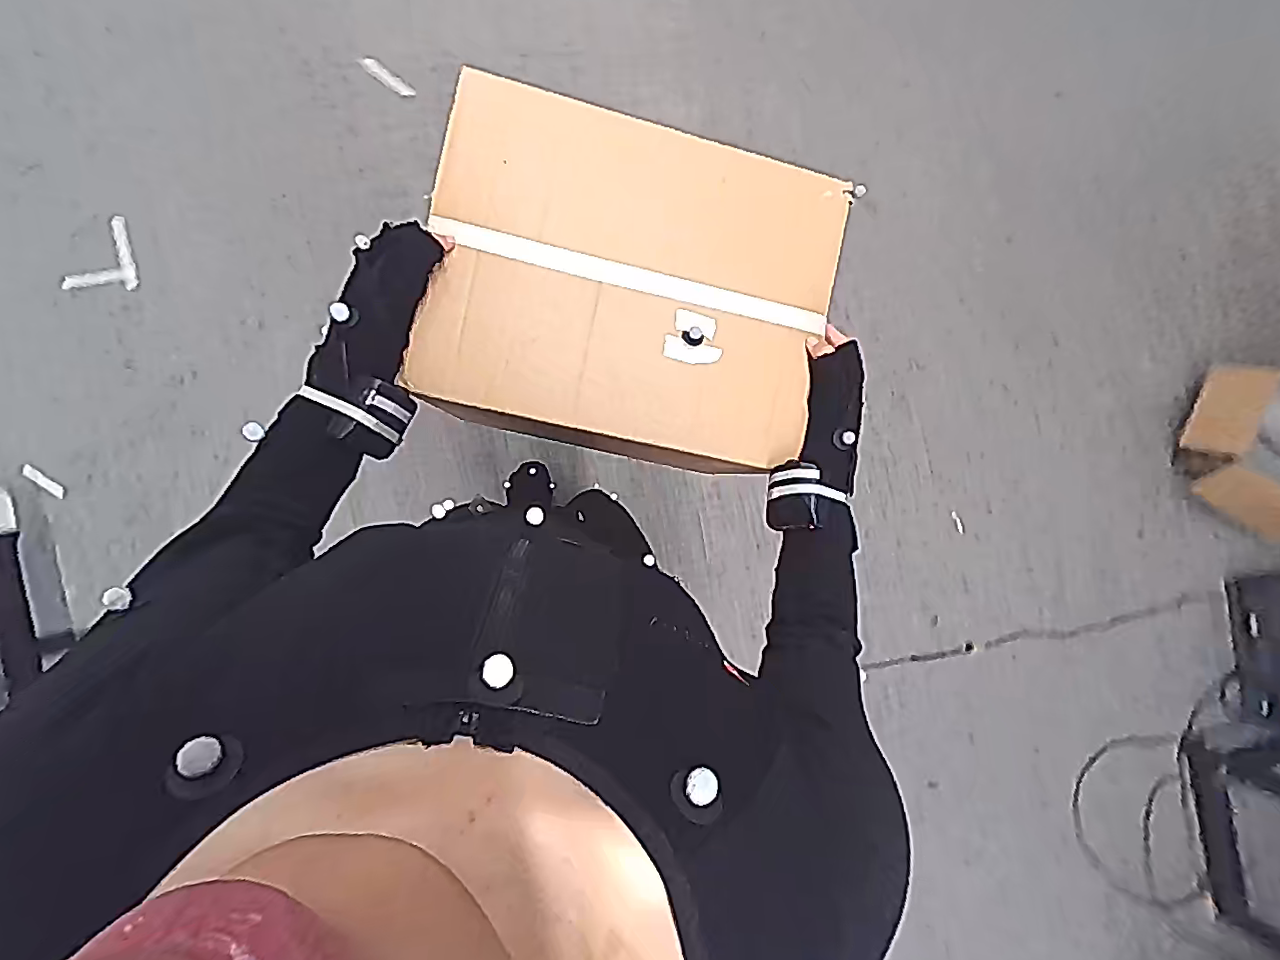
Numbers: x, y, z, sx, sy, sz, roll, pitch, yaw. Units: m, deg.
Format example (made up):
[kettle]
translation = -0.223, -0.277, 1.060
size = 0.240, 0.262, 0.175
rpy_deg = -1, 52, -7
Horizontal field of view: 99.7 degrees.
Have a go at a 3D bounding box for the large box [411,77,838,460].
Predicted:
[large box]
translation = -0.027, -0.212, 0.695
size = 0.408, 0.320, 0.320
rpy_deg = 10, 89, -8
